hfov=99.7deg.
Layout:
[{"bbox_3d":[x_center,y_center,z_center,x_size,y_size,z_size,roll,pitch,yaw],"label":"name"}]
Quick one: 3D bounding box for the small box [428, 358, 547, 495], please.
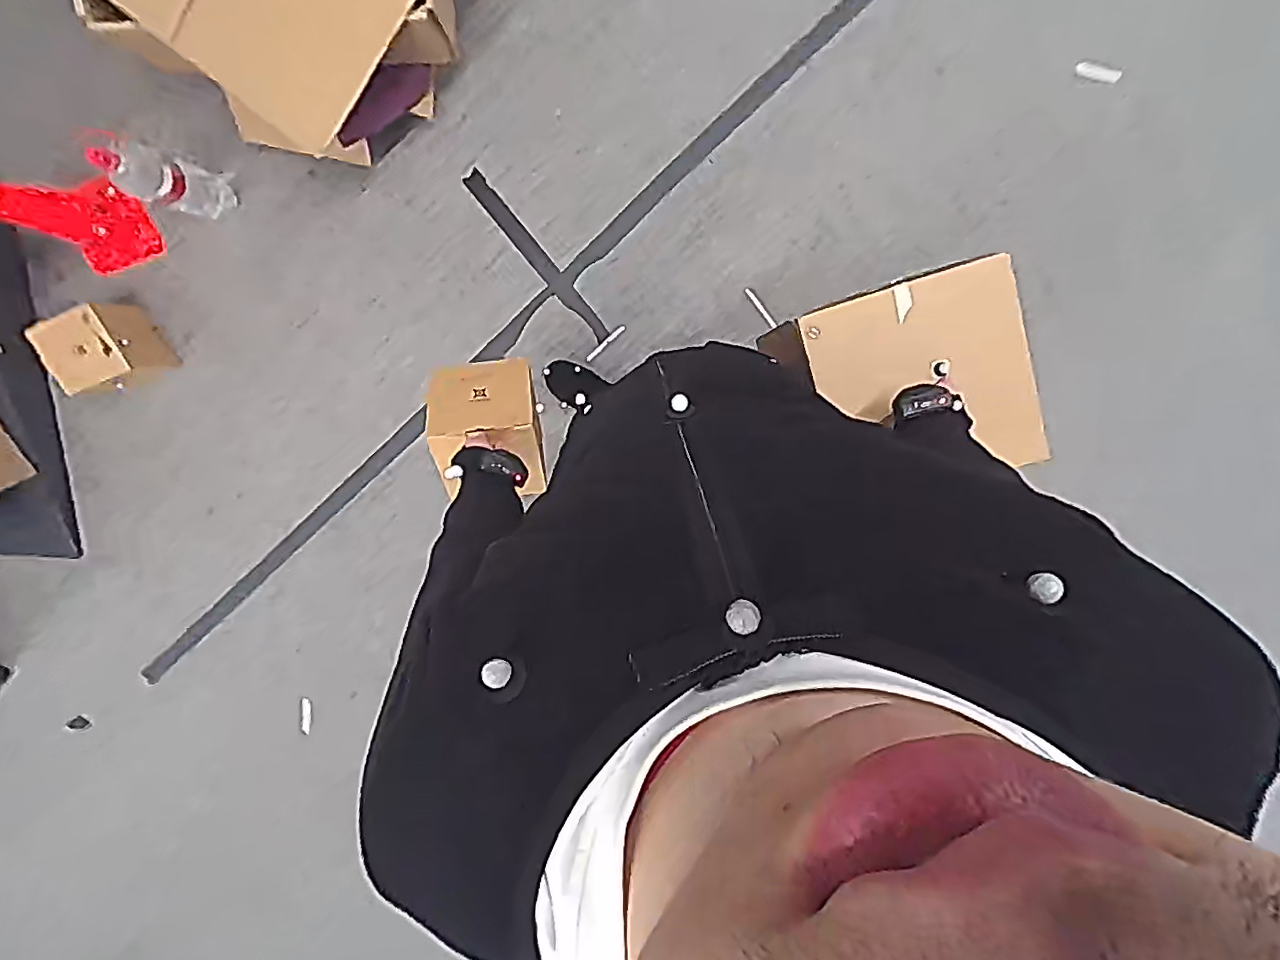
[{"bbox_3d":[-0.256,-0.087,0.943,0.168,0.179,0.176,-6,139,-7],"label":"small box"}]
